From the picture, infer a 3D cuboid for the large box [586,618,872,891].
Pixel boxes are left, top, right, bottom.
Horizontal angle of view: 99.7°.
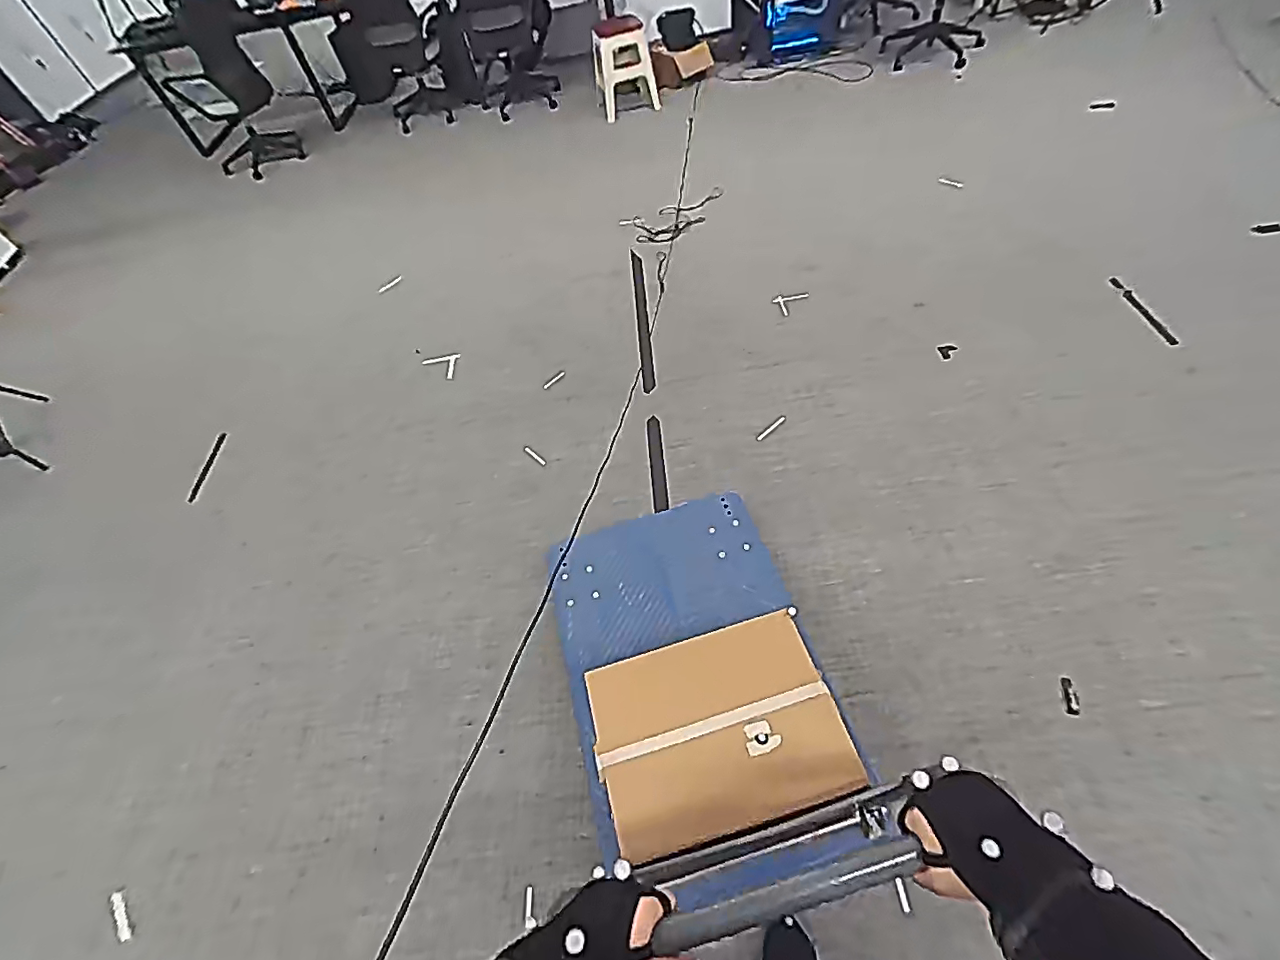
[{"bbox_3d":[0.147,0.519,1.015,0.408,0.320,0.320,-17,52,-4],"label":"large box"}]
